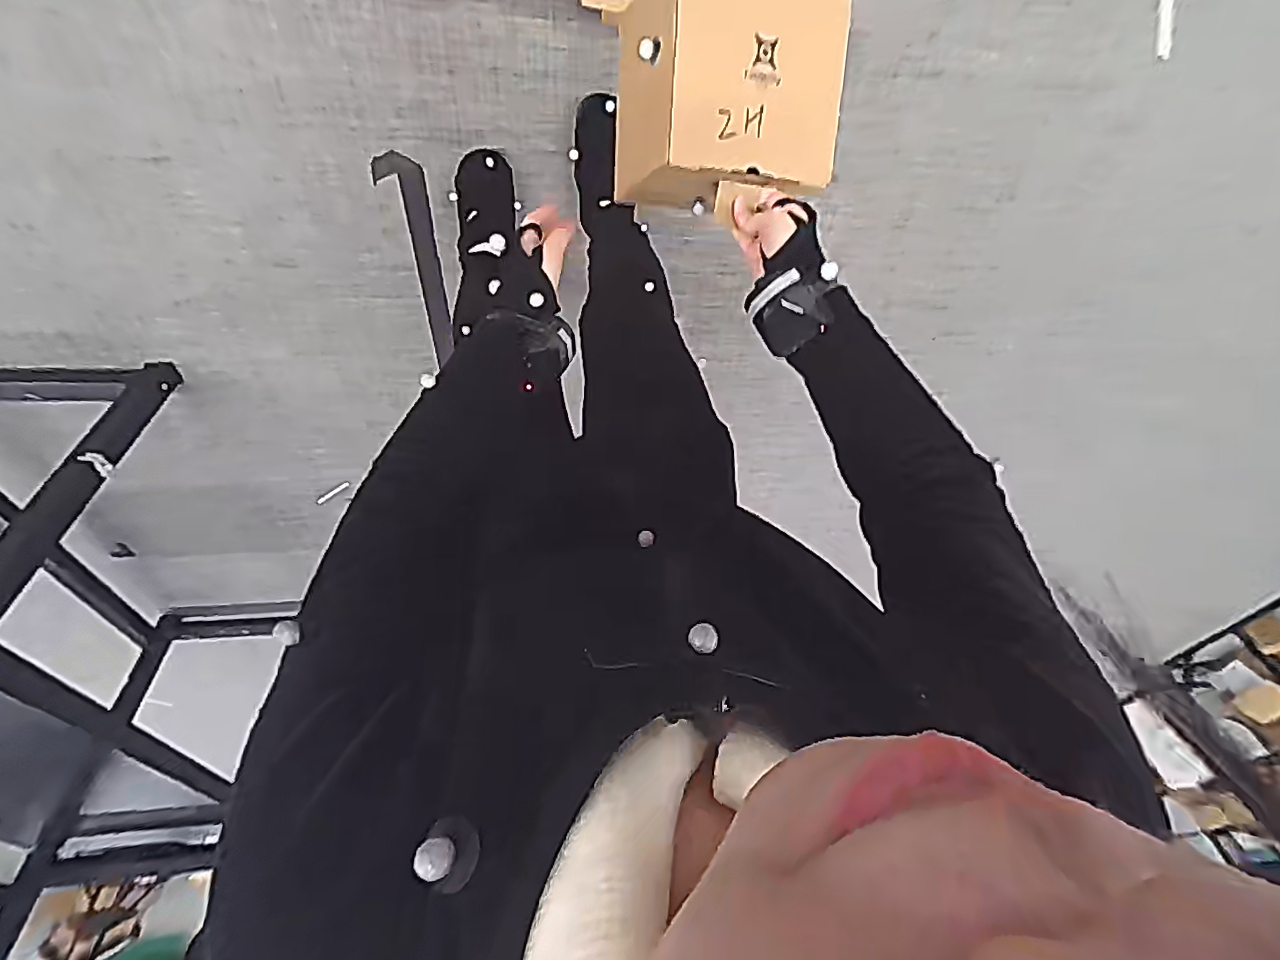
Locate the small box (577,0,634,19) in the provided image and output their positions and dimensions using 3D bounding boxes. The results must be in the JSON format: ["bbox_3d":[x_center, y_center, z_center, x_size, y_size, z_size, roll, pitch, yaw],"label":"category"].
[{"bbox_3d":[0.000,-0.779,0.772,0.168,0.176,0.179,2,136,-13],"label":"small box"}]

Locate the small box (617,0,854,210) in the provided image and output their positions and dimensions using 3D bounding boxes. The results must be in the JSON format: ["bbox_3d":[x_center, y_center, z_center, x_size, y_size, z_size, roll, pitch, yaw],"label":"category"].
[{"bbox_3d":[0.080,-0.384,0.531,0.168,0.176,0.179,-2,107,-19],"label":"small box"}]
